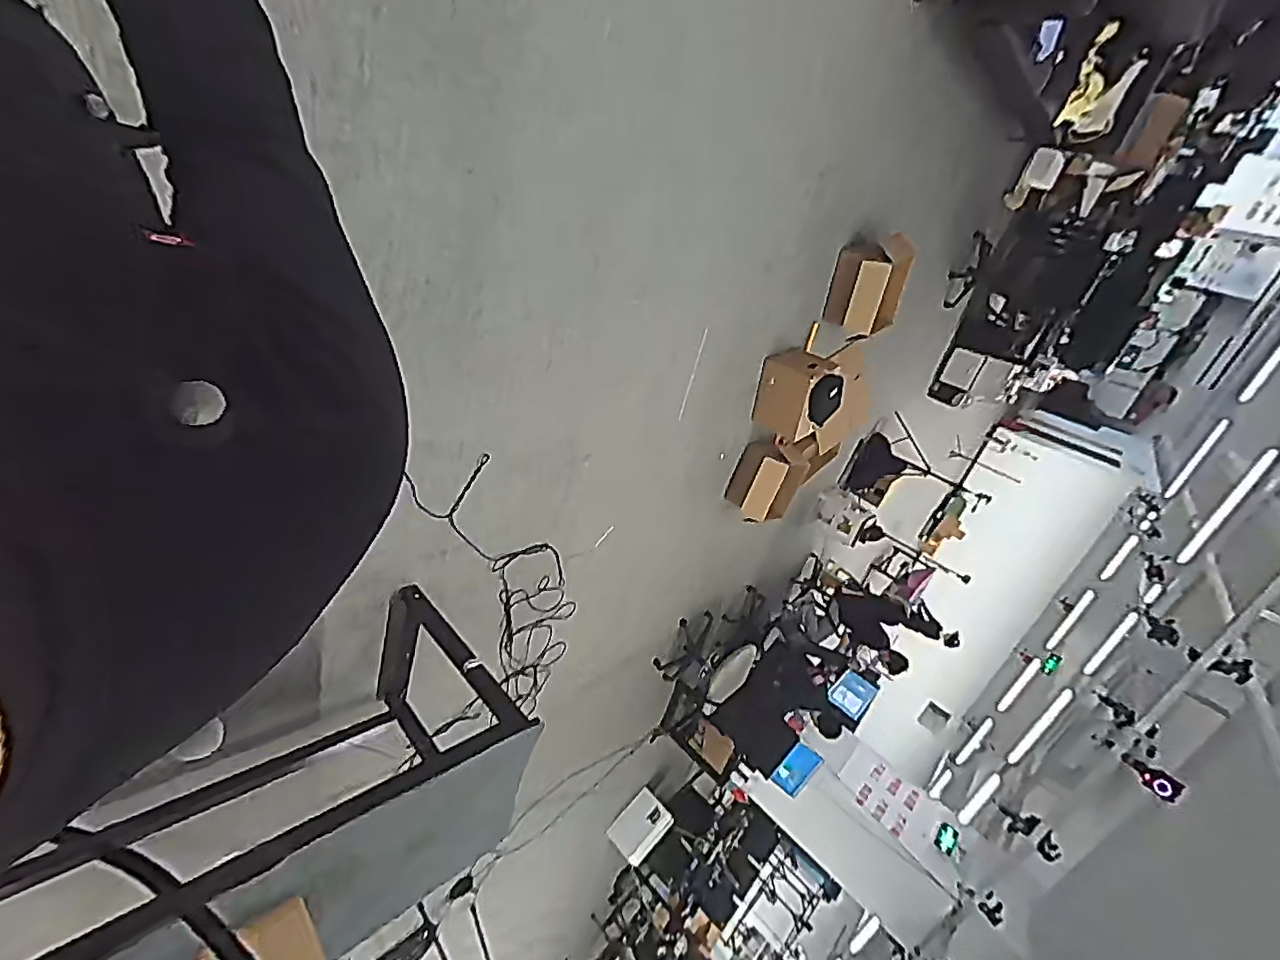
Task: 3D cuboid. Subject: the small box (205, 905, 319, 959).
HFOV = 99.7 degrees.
[{"bbox_3d":[-0.774,1.034,1.103,0.179,0.176,0.168,-6,123,-49],"label":"small box"}]
